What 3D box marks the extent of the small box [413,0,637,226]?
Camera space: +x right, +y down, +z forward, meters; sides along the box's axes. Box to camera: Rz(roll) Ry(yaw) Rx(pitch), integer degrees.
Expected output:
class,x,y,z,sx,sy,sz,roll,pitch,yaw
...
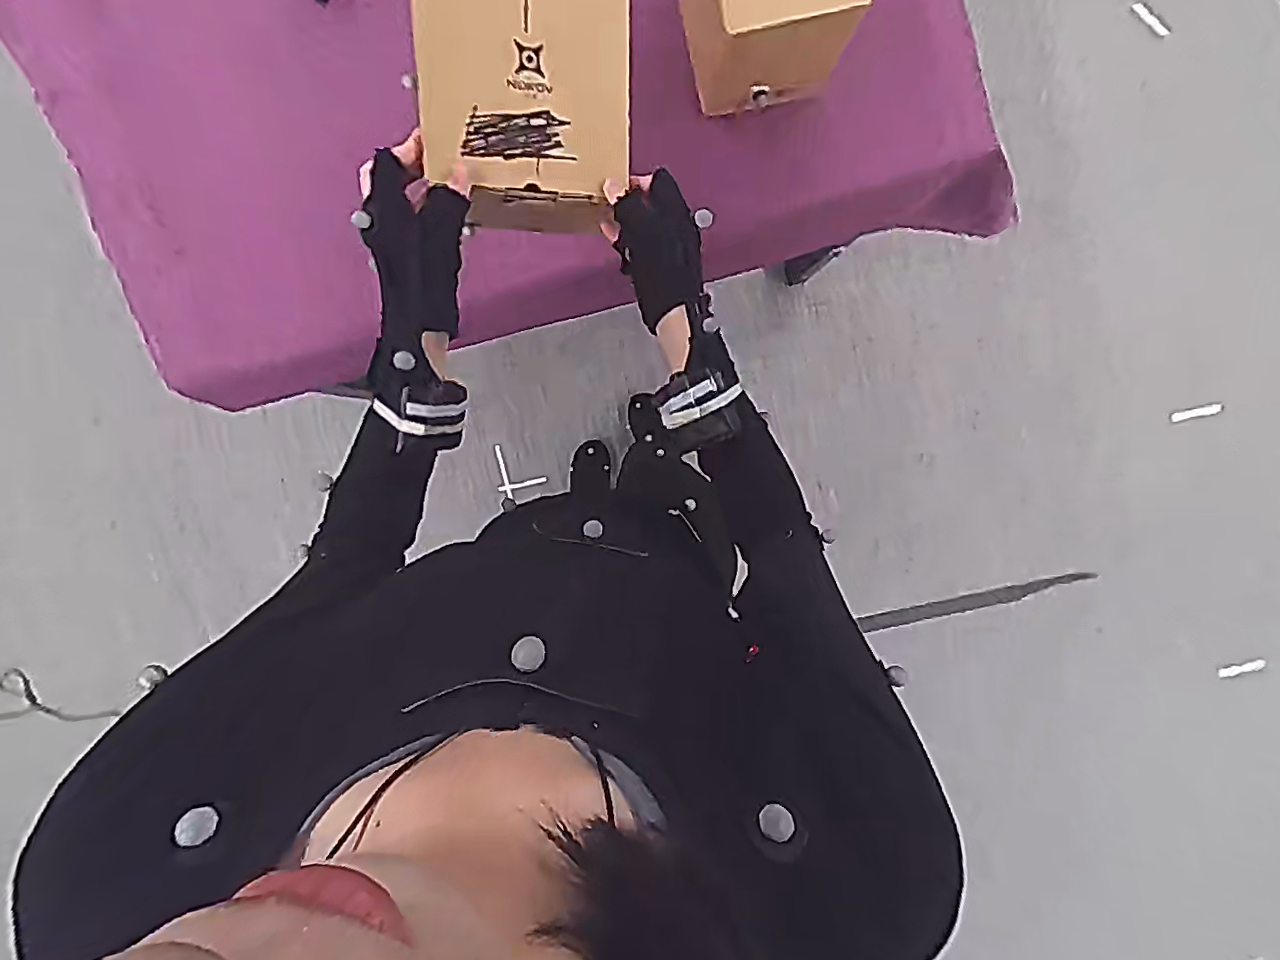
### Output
class,x,y,z,sx,sy,sz,roll,pitch,yaw
small box,-0.106,-0.338,0.482,0.168,0.176,0.179,-3,105,-18

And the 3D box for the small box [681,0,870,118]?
class,x,y,z,sx,sy,sz,roll,pitch,yaw
small box,0.152,-0.594,0.664,0.168,0.176,0.179,-13,96,-1
